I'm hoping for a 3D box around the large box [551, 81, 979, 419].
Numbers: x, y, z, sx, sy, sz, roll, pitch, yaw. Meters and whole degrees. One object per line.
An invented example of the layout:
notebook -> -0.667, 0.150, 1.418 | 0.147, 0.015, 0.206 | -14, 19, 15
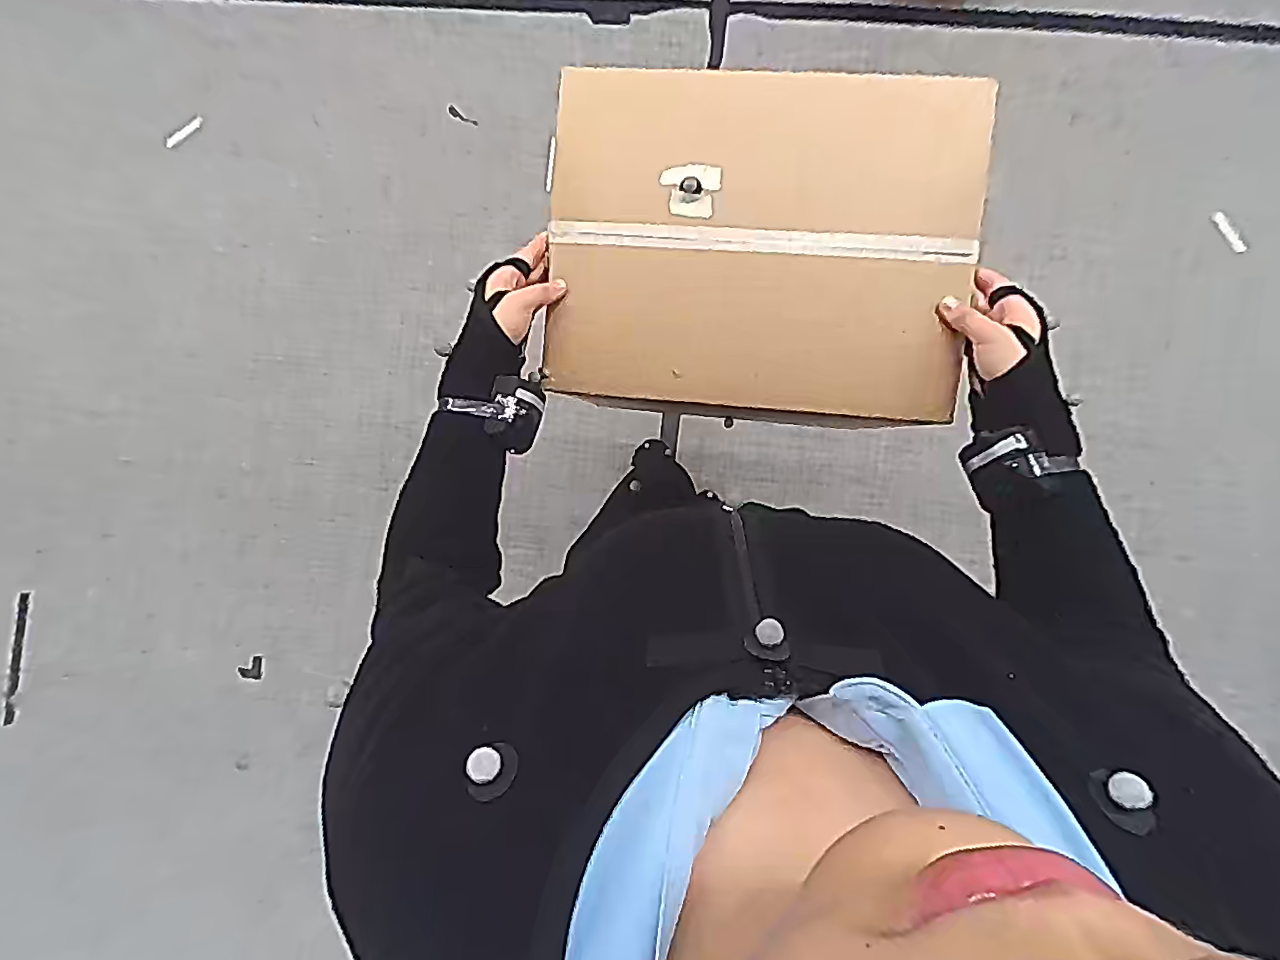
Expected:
large box -> 0.130, -0.243, 0.682 | 0.408, 0.320, 0.320 | 5, 94, 6
